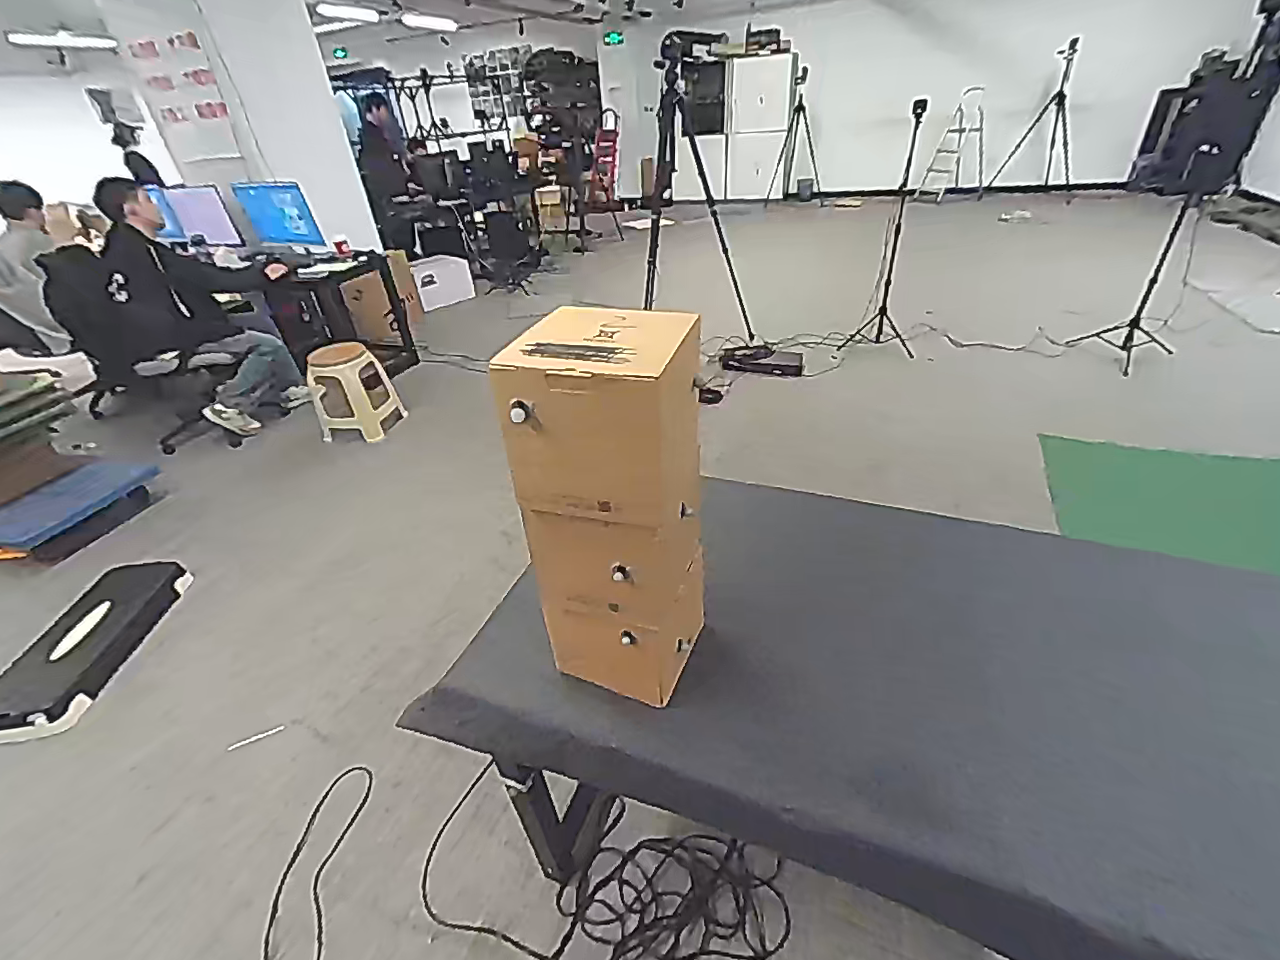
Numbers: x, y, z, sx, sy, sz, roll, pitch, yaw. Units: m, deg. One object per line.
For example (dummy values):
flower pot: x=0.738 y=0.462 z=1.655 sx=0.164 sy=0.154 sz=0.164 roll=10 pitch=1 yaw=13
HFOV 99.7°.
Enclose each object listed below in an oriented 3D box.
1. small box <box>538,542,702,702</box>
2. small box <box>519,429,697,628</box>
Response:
small box: x=-0.019 y=0.186 z=0.779 sx=0.179 sy=0.176 sz=0.168 roll=11 pitch=37 yaw=23
small box: x=-0.027 y=0.057 z=0.682 sx=0.168 sy=0.176 sz=0.179 roll=10 pitch=36 yaw=17
